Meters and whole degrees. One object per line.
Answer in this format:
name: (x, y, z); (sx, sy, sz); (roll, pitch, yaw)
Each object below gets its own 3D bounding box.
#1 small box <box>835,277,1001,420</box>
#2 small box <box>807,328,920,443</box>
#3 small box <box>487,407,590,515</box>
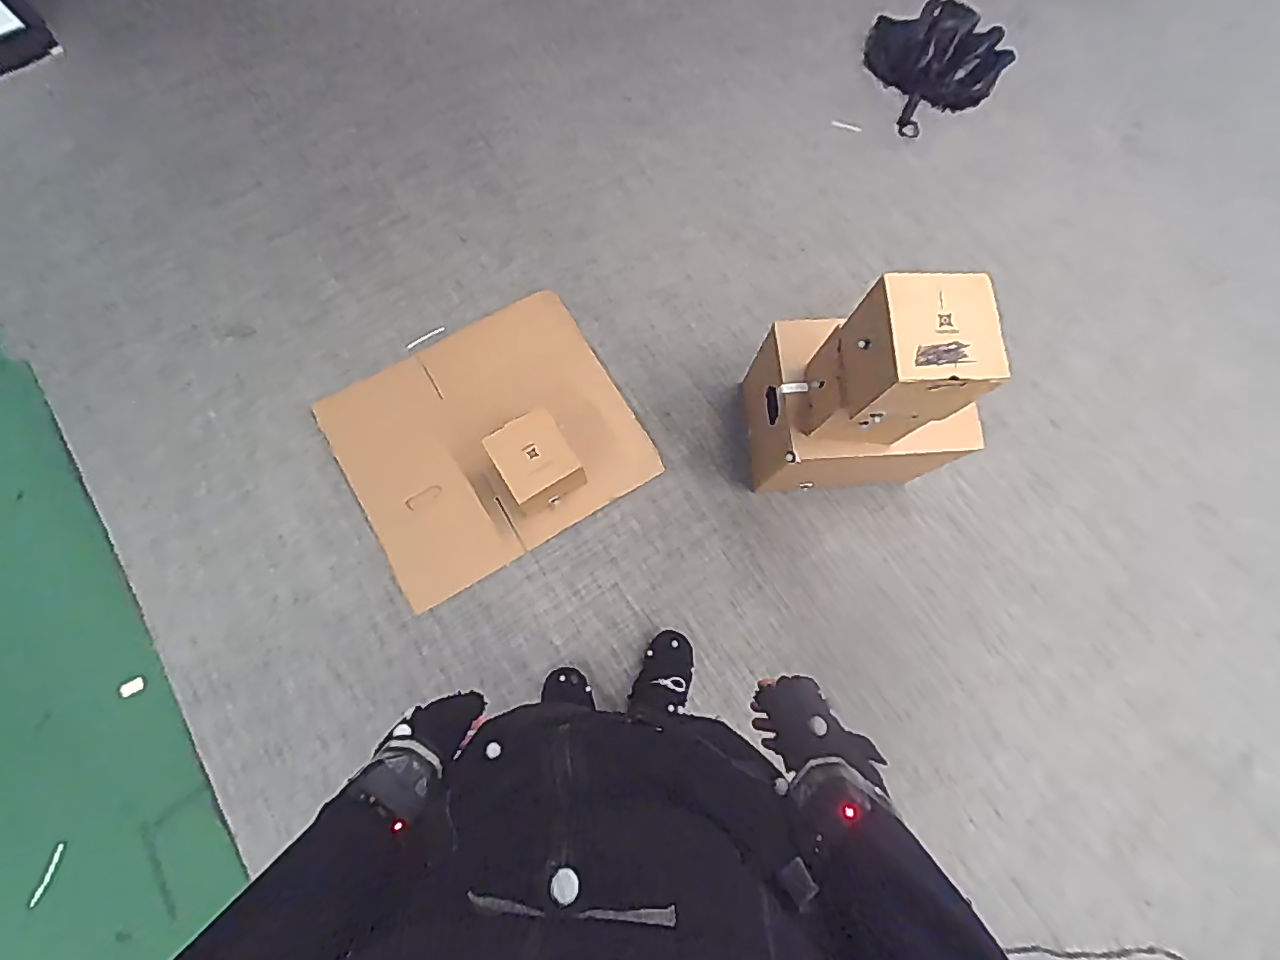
small box: (0.435, -0.201, 0.874); (0.168, 0.176, 0.179); (-4, 78, -3)
small box: (0.430, -0.175, 1.039); (0.179, 0.176, 0.168); (2, 75, -2)
small box: (-0.233, -0.037, 1.283); (0.168, 0.176, 0.179); (-32, 80, -7)
